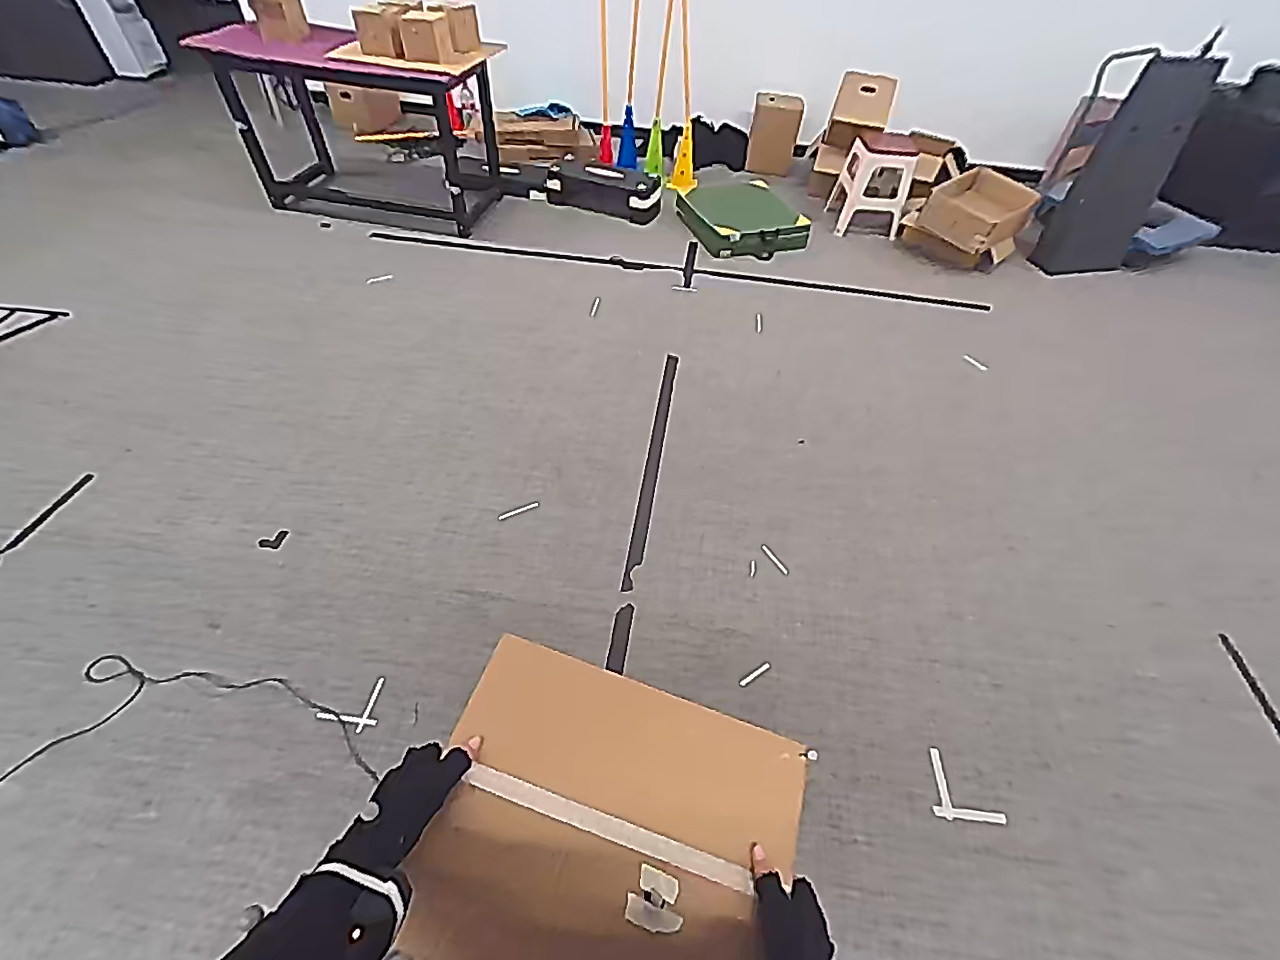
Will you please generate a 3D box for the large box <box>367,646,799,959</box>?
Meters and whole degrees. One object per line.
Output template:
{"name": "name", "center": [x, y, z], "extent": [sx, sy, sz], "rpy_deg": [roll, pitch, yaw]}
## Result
{"name": "large box", "center": [-0.055, 0.473, 0.711], "extent": [0.408, 0.320, 0.320], "rpy_deg": [19, 54, 5]}
